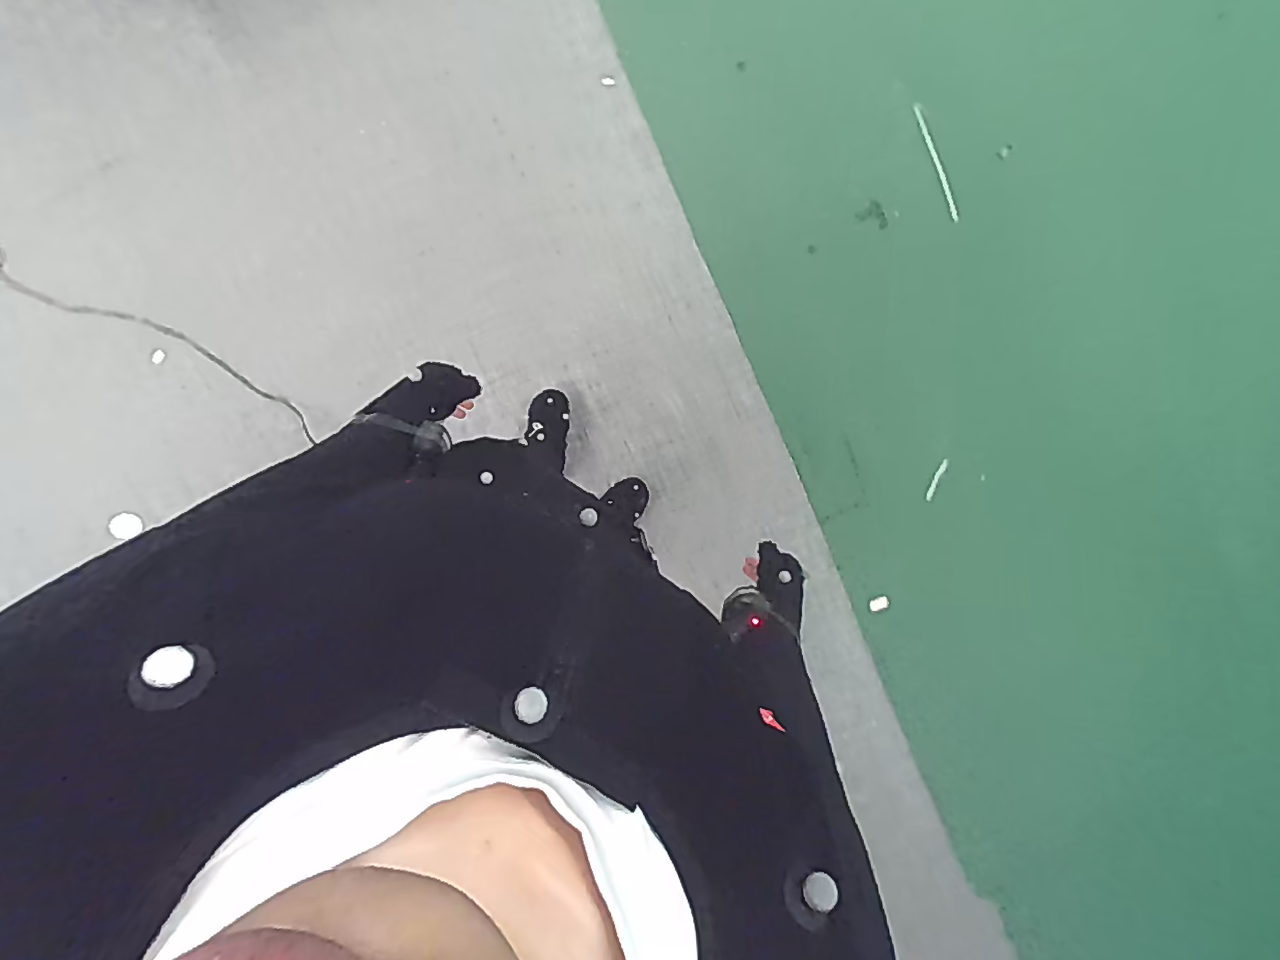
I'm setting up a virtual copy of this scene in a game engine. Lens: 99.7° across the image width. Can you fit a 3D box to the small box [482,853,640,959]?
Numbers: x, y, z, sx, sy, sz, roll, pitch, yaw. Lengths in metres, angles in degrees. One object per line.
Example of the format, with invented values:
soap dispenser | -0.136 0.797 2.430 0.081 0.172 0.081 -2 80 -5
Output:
small box | -0.109 0.702 0.788 0.179 0.176 0.168 -27 89 0
